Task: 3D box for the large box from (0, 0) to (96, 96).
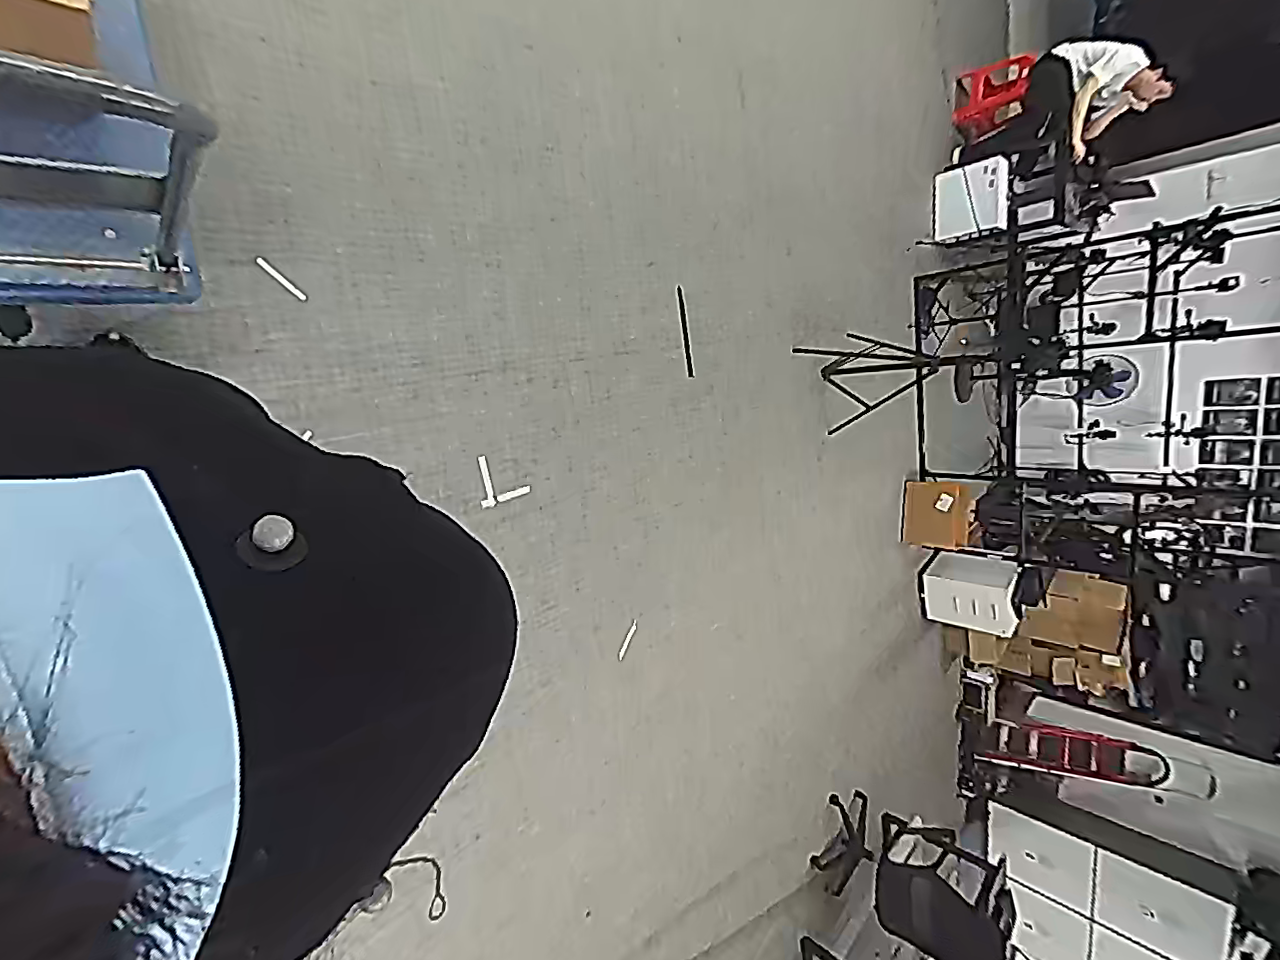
[{"bbox_3d":[-0.982,-0.747,0.655,0.408,0.320,0.320,-13,102,-41],"label":"large box"}]
